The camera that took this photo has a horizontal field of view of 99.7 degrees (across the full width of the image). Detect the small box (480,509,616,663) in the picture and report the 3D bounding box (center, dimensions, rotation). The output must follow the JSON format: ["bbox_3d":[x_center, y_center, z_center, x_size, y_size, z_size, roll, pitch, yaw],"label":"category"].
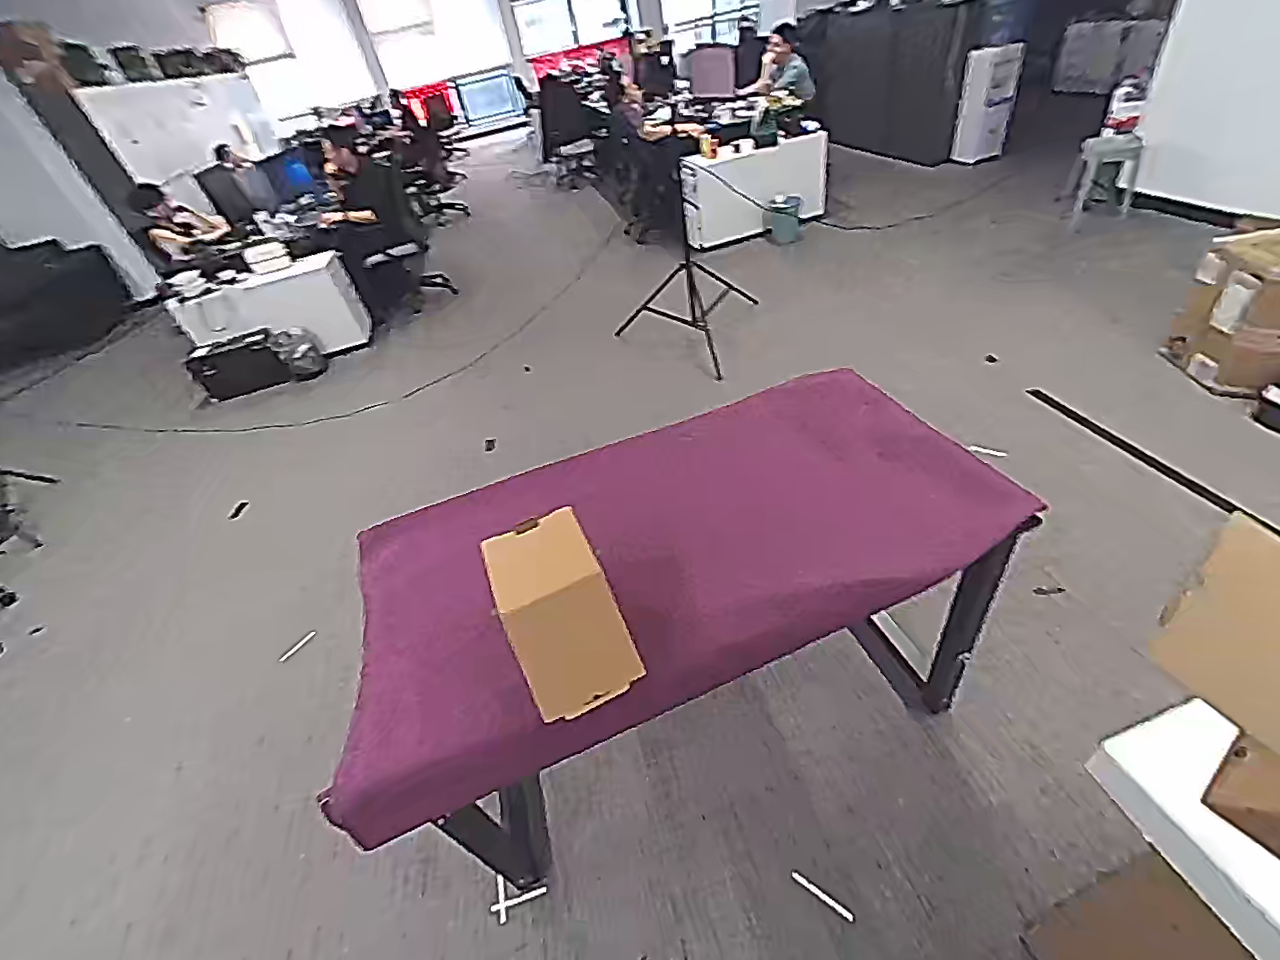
[{"bbox_3d":[-0.155,0.187,0.929,0.168,0.176,0.179,-23,40,-11],"label":"small box"}]
